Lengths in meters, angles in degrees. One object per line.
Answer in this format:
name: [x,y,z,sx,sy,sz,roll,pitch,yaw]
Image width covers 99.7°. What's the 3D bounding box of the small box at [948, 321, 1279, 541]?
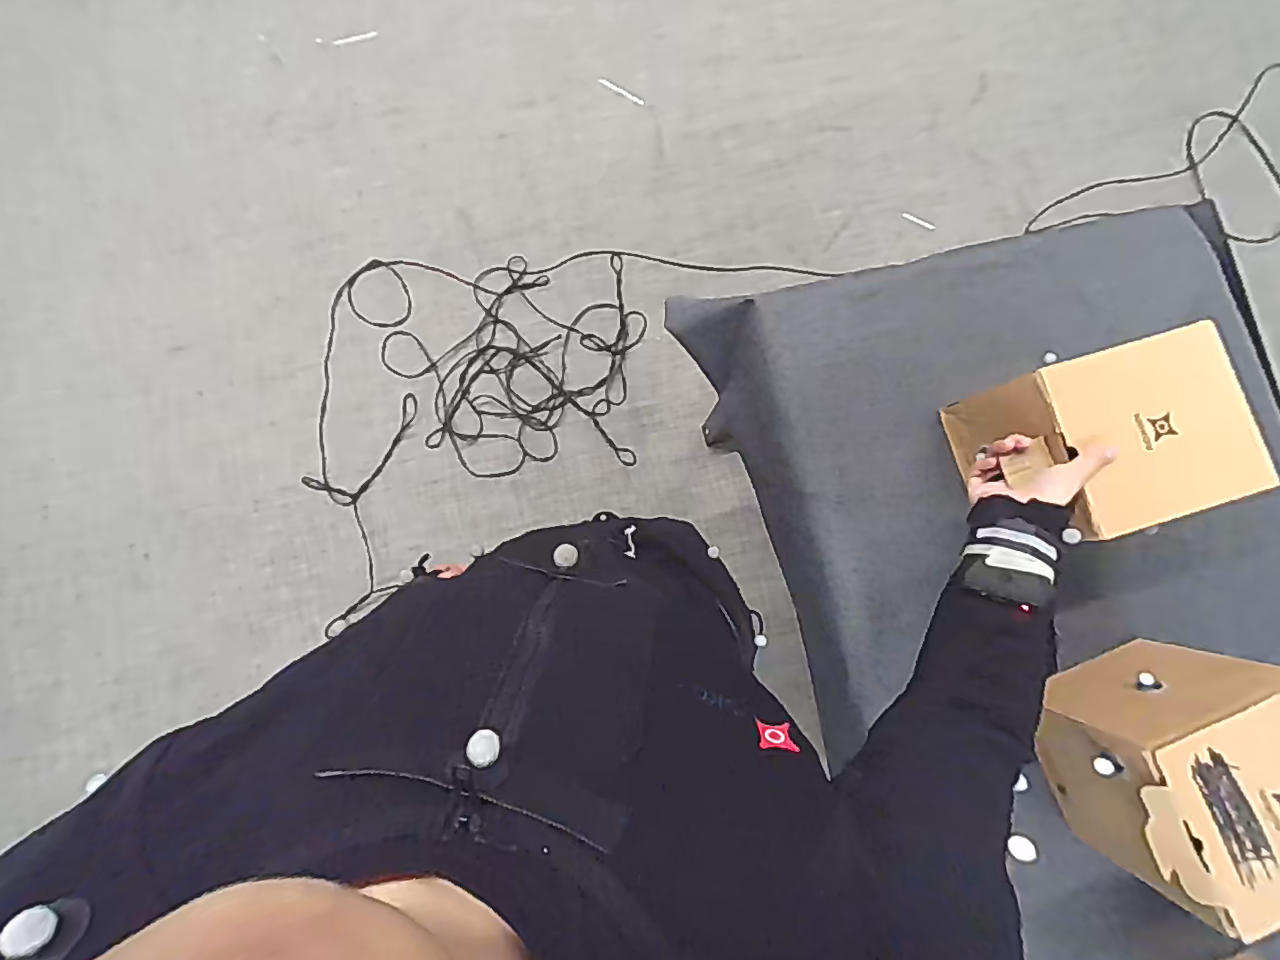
small box: [0.473,-0.041,0.569,0.179,0.176,0.168,-17,86,-1]
